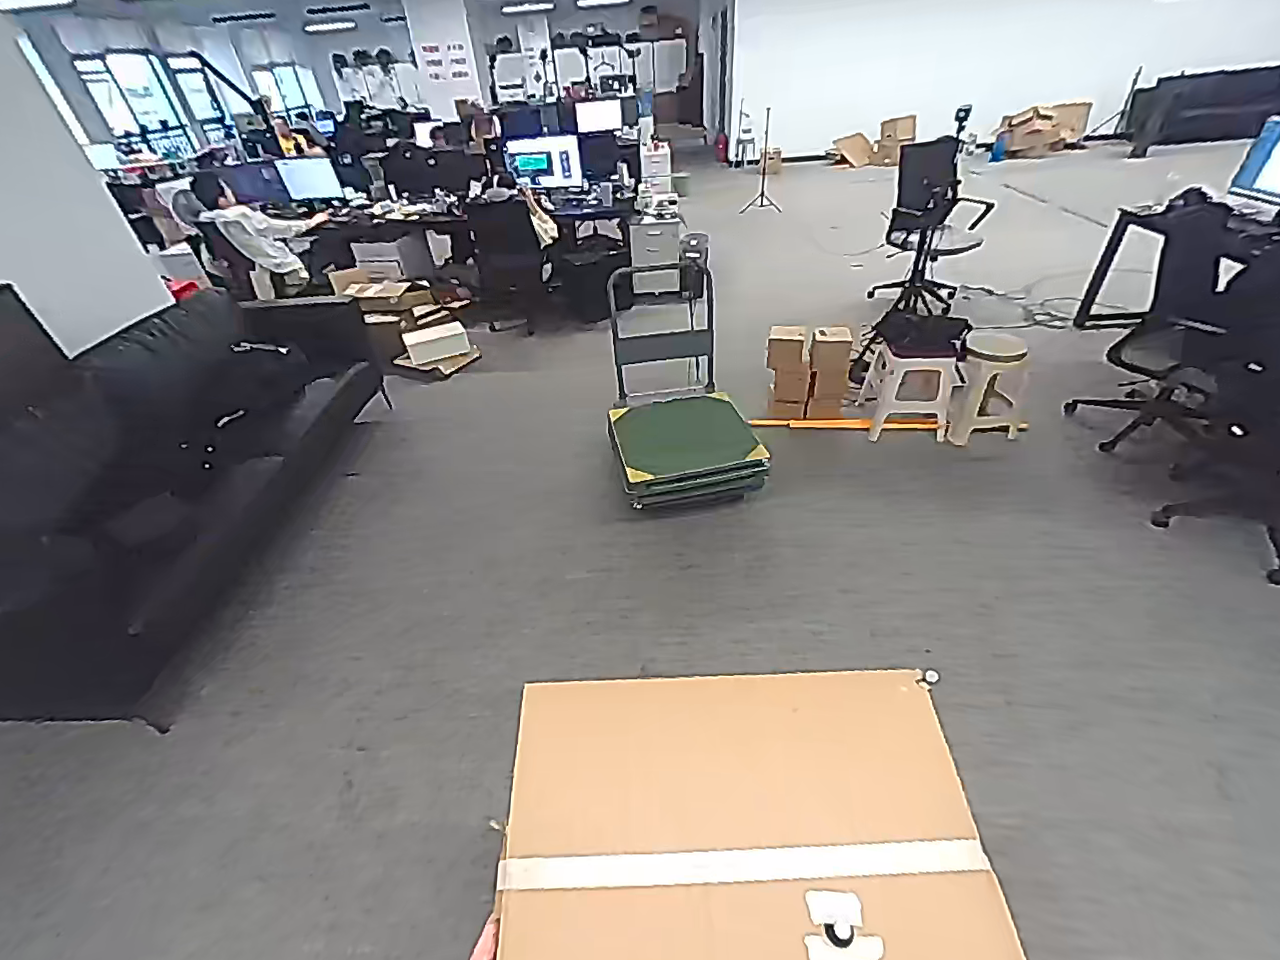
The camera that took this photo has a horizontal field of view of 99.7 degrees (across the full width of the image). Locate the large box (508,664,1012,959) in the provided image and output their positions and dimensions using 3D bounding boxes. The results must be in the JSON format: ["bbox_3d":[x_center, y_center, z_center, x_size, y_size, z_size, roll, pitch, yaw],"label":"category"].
[{"bbox_3d":[0.091,0.414,0.583,0.408,0.320,0.320,-2,53,-1],"label":"large box"}]
